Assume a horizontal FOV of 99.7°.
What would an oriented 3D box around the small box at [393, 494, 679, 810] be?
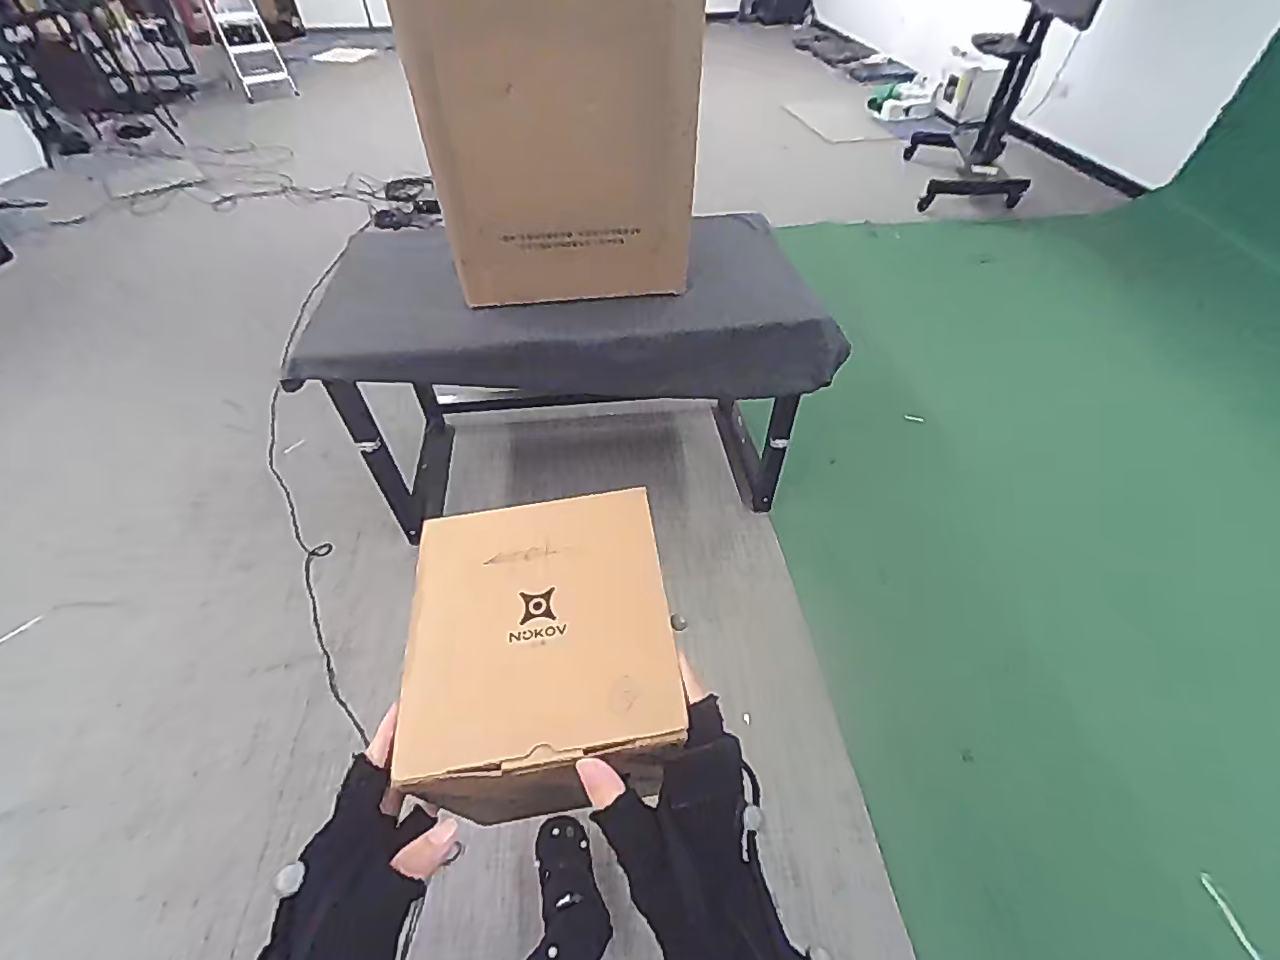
[{"bbox_3d":[-0.065,0.139,0.417,0.168,0.176,0.179,-9,50,-3],"label":"small box"}]
